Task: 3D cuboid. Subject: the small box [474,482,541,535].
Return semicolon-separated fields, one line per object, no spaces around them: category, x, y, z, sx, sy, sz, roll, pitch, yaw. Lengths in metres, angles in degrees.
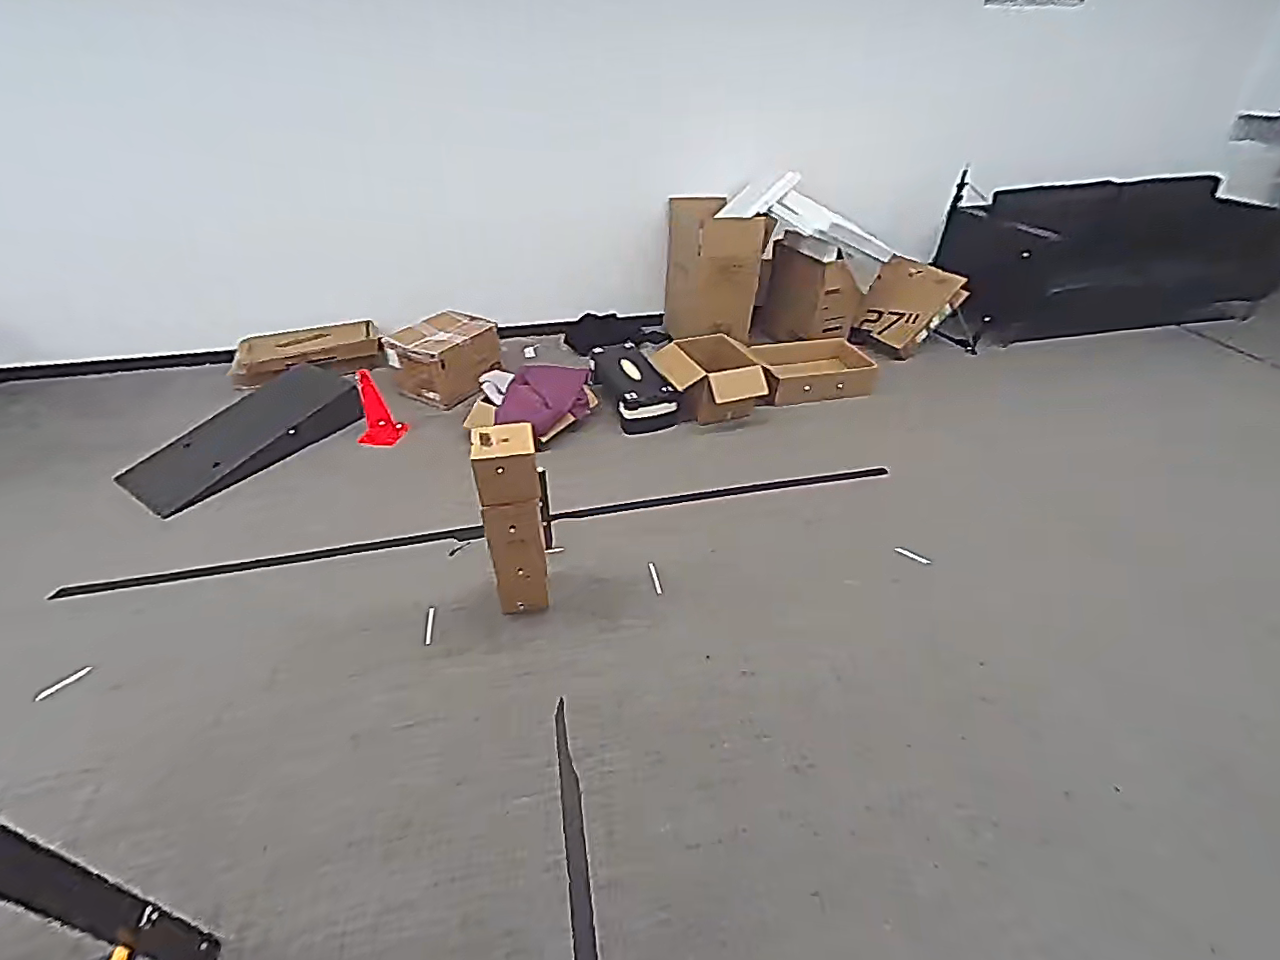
small box;-0.392;0.050;1.612;0.168;0.176;0.179;-8;39;-9

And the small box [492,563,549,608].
small box;-0.402;0.302;1.823;0.168;0.176;0.179;-9;40;-10

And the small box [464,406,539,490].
small box;-0.386;-0.087;1.518;0.179;0.176;0.168;-8;39;-11

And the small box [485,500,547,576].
small box;-0.392;0.177;1.715;0.168;0.176;0.179;-8;39;-9
